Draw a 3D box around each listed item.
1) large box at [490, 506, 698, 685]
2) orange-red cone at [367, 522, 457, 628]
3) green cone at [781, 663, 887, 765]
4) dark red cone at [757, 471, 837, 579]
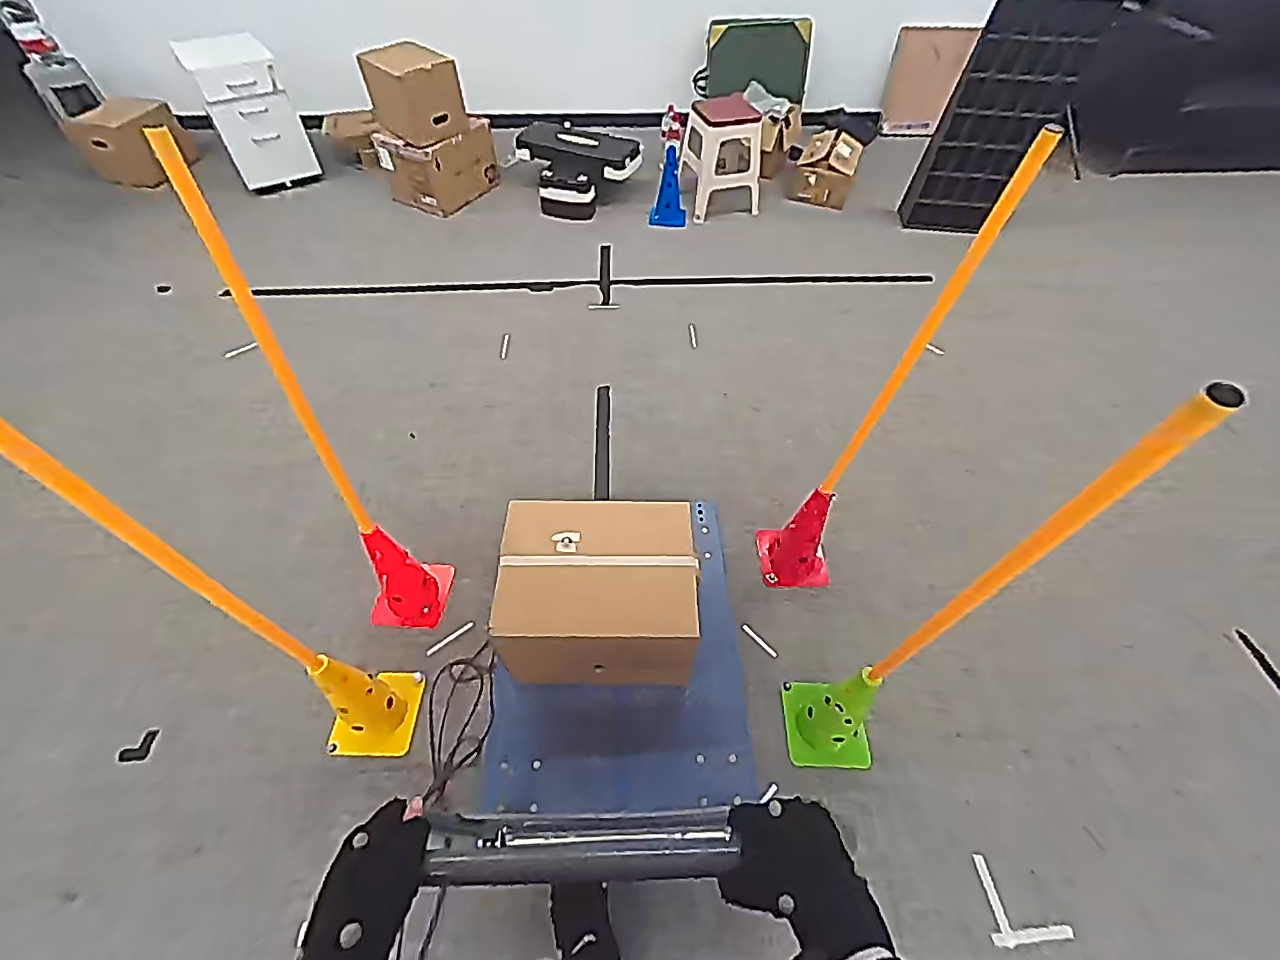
[{"bbox_3d":[-0.088,0.272,1.238,0.408,0.320,0.320,0,53,0],"label":"large box"},{"bbox_3d":[-0.651,0.225,1.451,0.198,0.360,0.199,5,51,2],"label":"orange-red cone"},{"bbox_3d":[0.474,0.507,1.241,0.202,0.368,0.200,2,52,0],"label":"green cone"},{"bbox_3d":[0.475,0.114,1.526,0.201,0.394,0.202,0,52,-3],"label":"dark red cone"}]
